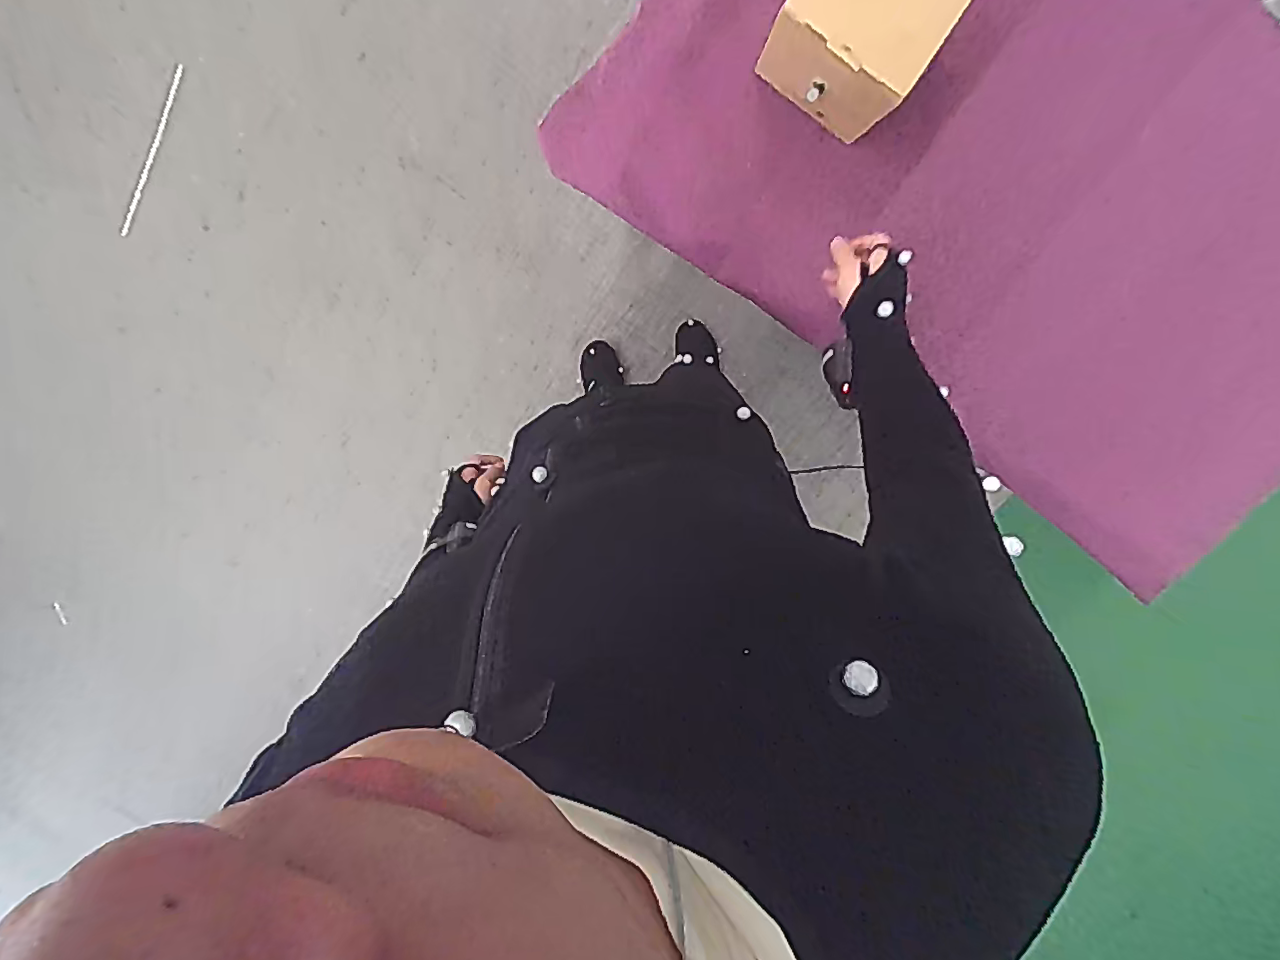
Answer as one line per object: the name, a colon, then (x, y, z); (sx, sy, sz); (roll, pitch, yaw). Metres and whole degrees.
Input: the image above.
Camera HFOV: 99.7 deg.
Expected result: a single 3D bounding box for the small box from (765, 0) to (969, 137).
small box: (0.264, -0.545, 0.630); (0.168, 0.176, 0.179); (32, 106, -8)
